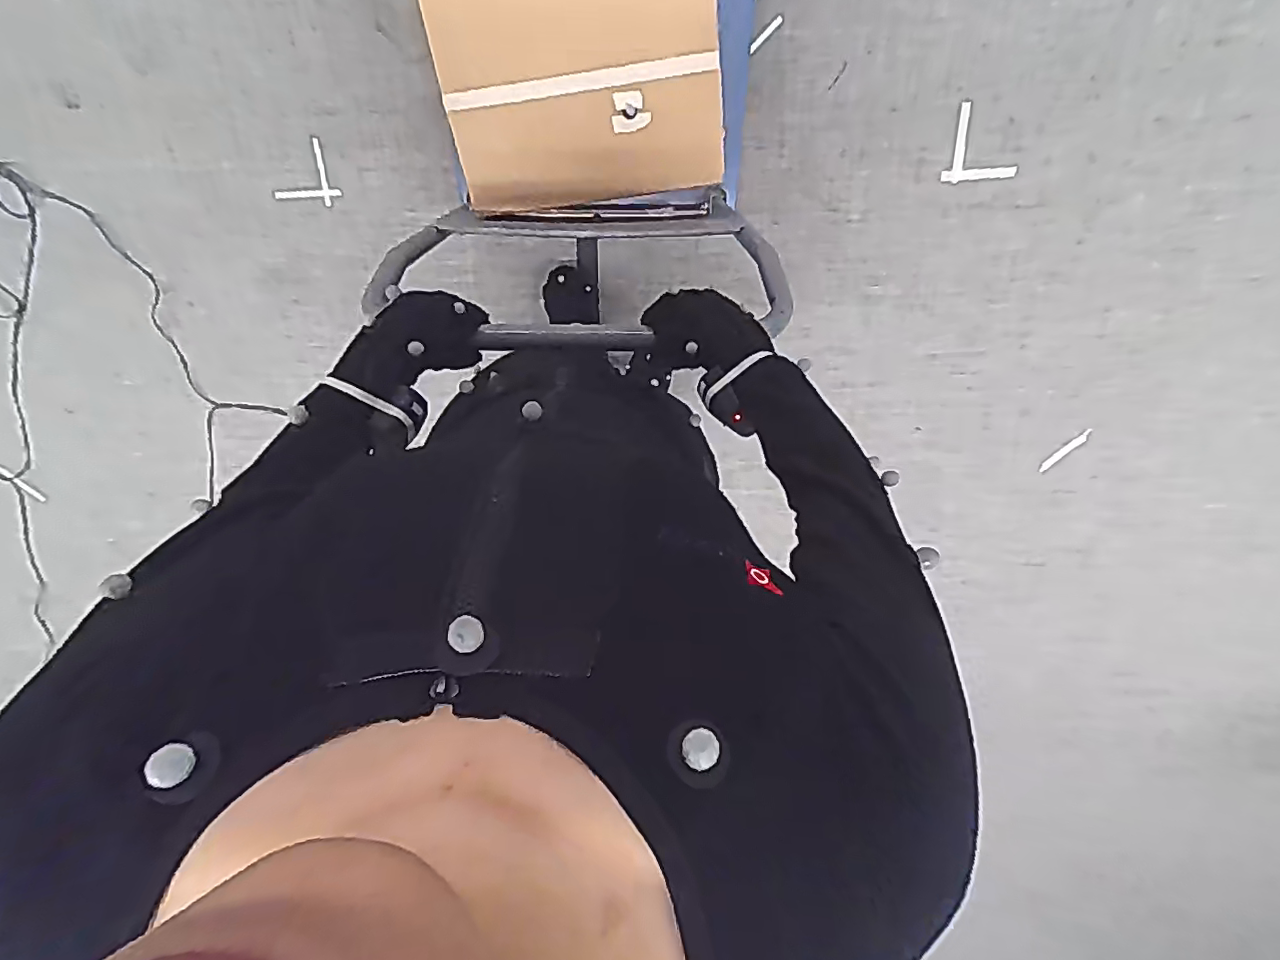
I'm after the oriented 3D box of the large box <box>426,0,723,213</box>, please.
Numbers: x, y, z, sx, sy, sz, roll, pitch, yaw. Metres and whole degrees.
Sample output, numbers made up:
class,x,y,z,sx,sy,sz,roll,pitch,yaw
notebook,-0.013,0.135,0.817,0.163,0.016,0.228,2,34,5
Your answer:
class,x,y,z,sx,sy,sz,roll,pitch,yaw
large box,-0.090,-0.669,0.923,0.408,0.320,0.320,-7,122,2
